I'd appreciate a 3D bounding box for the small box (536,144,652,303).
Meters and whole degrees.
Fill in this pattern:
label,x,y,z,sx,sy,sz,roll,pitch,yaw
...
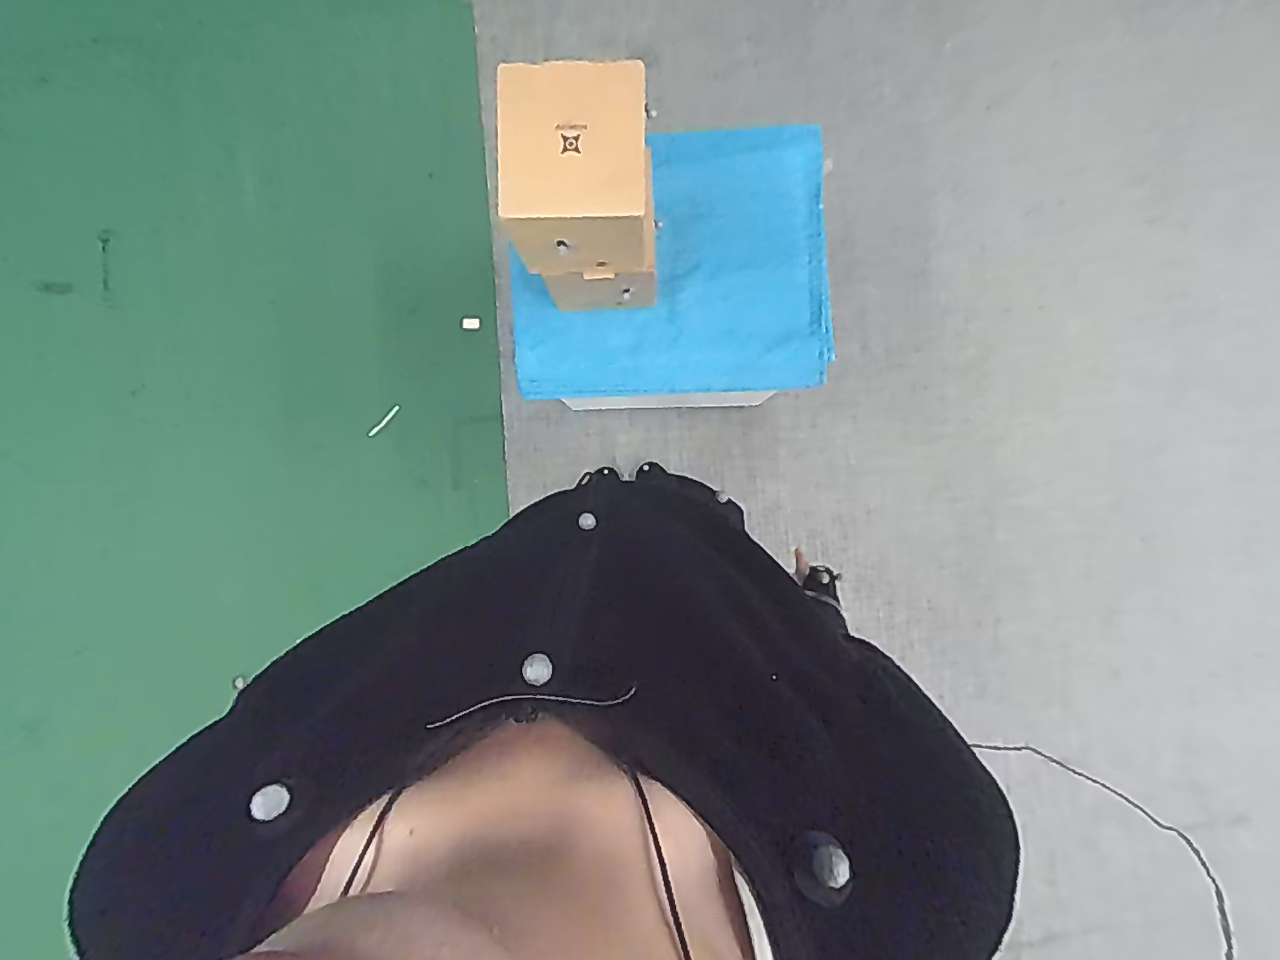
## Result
label,x,y,z,sx,sy,sz,roll,pitch,yaw
small box,-0.064,-0.379,0.831,0.168,0.176,0.179,-2,90,0

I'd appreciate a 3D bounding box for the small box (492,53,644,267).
label,x,y,z,sx,sy,sz,roll,pitch,yaw
small box,-0.078,-0.377,0.669,0.168,0.176,0.179,0,89,0
